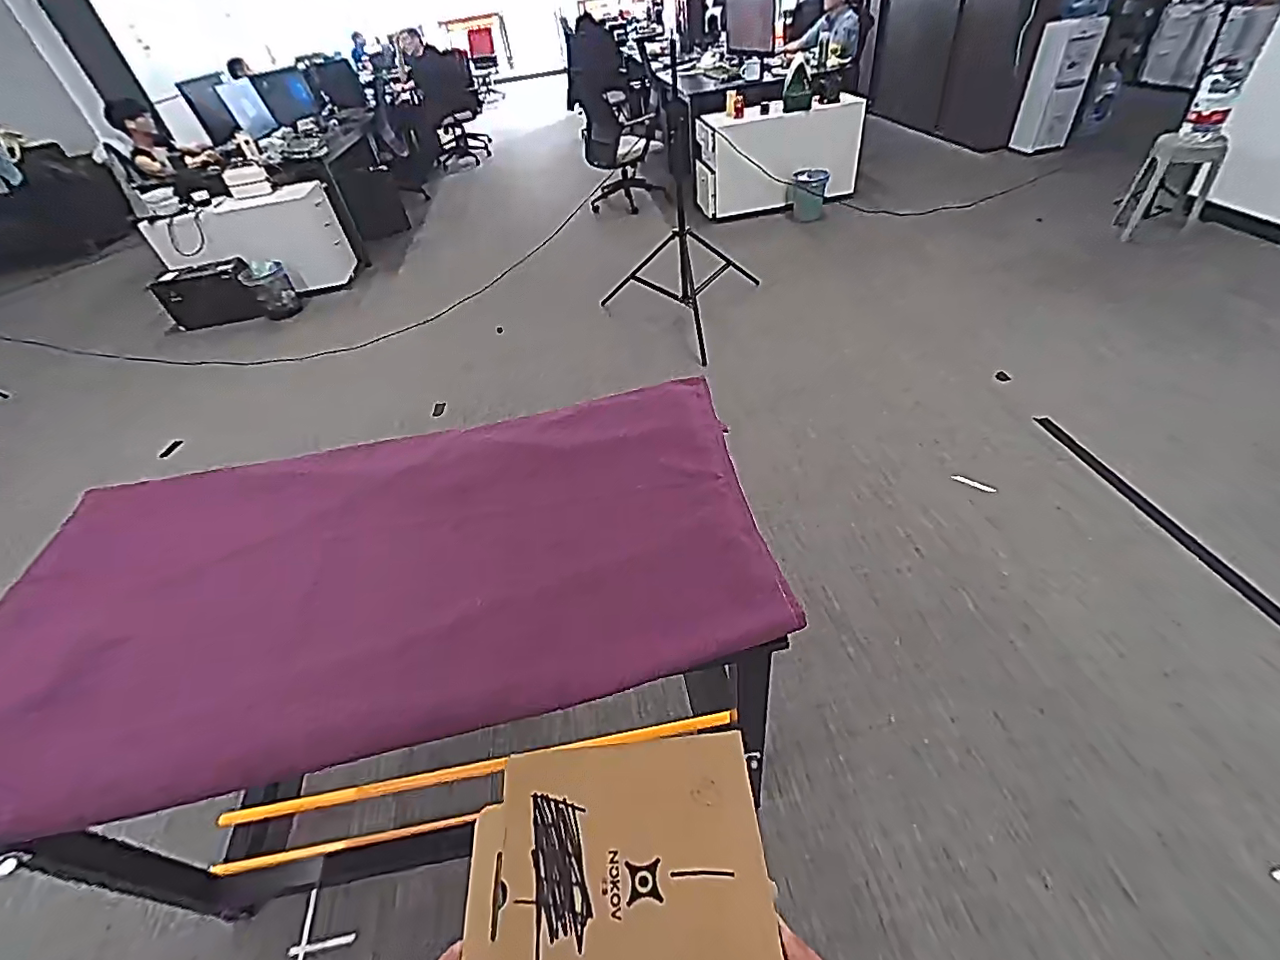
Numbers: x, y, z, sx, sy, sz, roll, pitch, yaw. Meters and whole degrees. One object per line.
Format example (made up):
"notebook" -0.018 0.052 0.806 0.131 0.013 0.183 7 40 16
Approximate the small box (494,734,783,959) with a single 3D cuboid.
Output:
"small box" 0.002 0.310 0.407 0.179 0.176 0.168 -6 49 0
